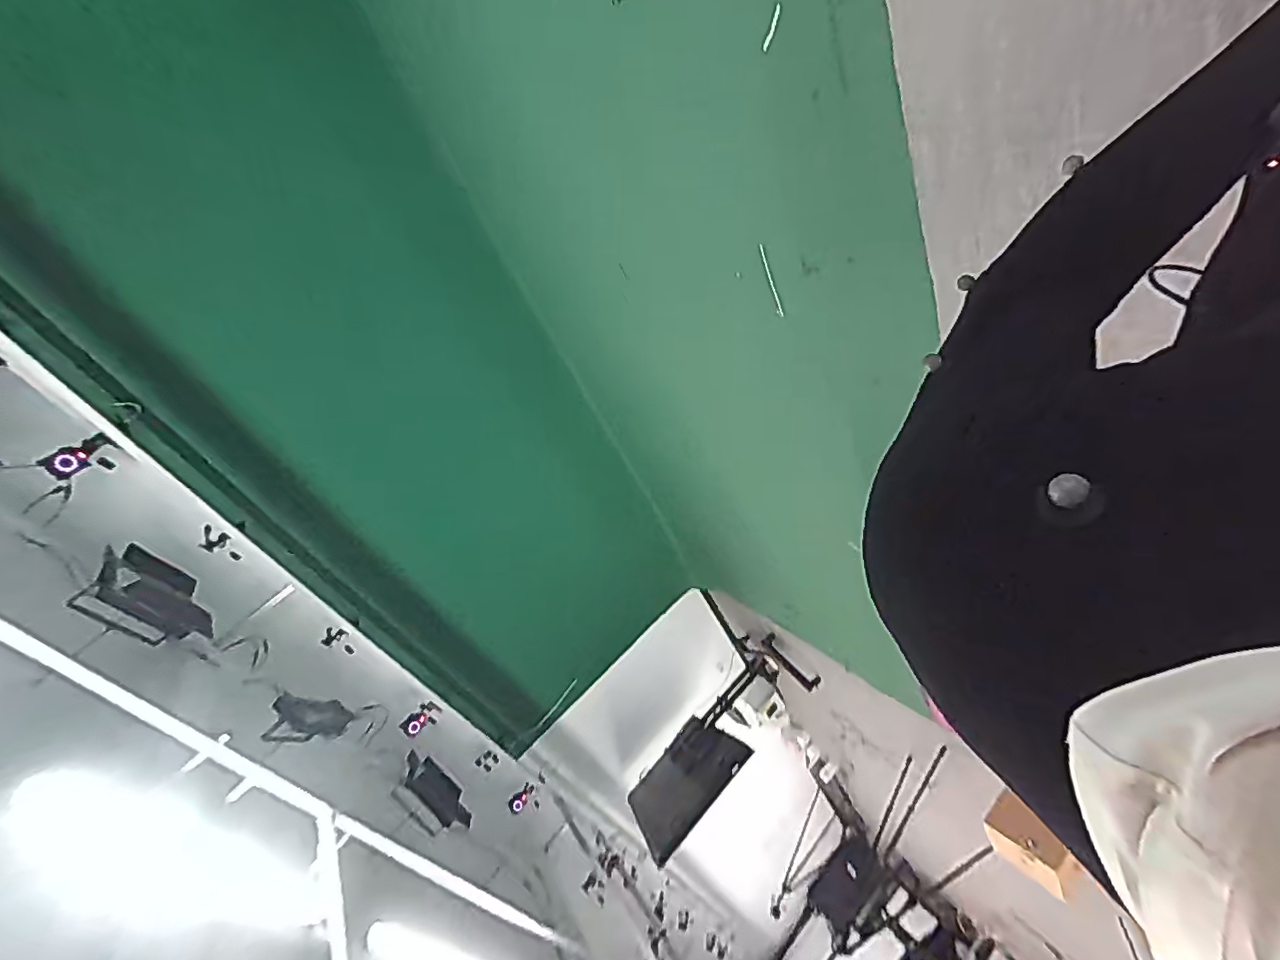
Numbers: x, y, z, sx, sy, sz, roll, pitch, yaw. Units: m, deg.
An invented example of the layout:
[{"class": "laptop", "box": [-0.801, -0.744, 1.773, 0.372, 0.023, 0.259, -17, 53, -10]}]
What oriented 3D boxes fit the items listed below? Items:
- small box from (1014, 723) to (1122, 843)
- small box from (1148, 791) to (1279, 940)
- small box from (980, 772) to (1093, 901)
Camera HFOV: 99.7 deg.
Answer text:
[{"class": "small box", "box": [1.106, 0.774, 1.393, 0.168, 0.176, 0.179, 19, 146, 56]}, {"class": "small box", "box": [1.252, 0.832, 1.179, 0.168, 0.176, 0.179, 21, 147, 55]}, {"class": "small box", "box": [0.990, 0.879, 1.344, 0.168, 0.176, 0.179, 18, 146, 56]}]
